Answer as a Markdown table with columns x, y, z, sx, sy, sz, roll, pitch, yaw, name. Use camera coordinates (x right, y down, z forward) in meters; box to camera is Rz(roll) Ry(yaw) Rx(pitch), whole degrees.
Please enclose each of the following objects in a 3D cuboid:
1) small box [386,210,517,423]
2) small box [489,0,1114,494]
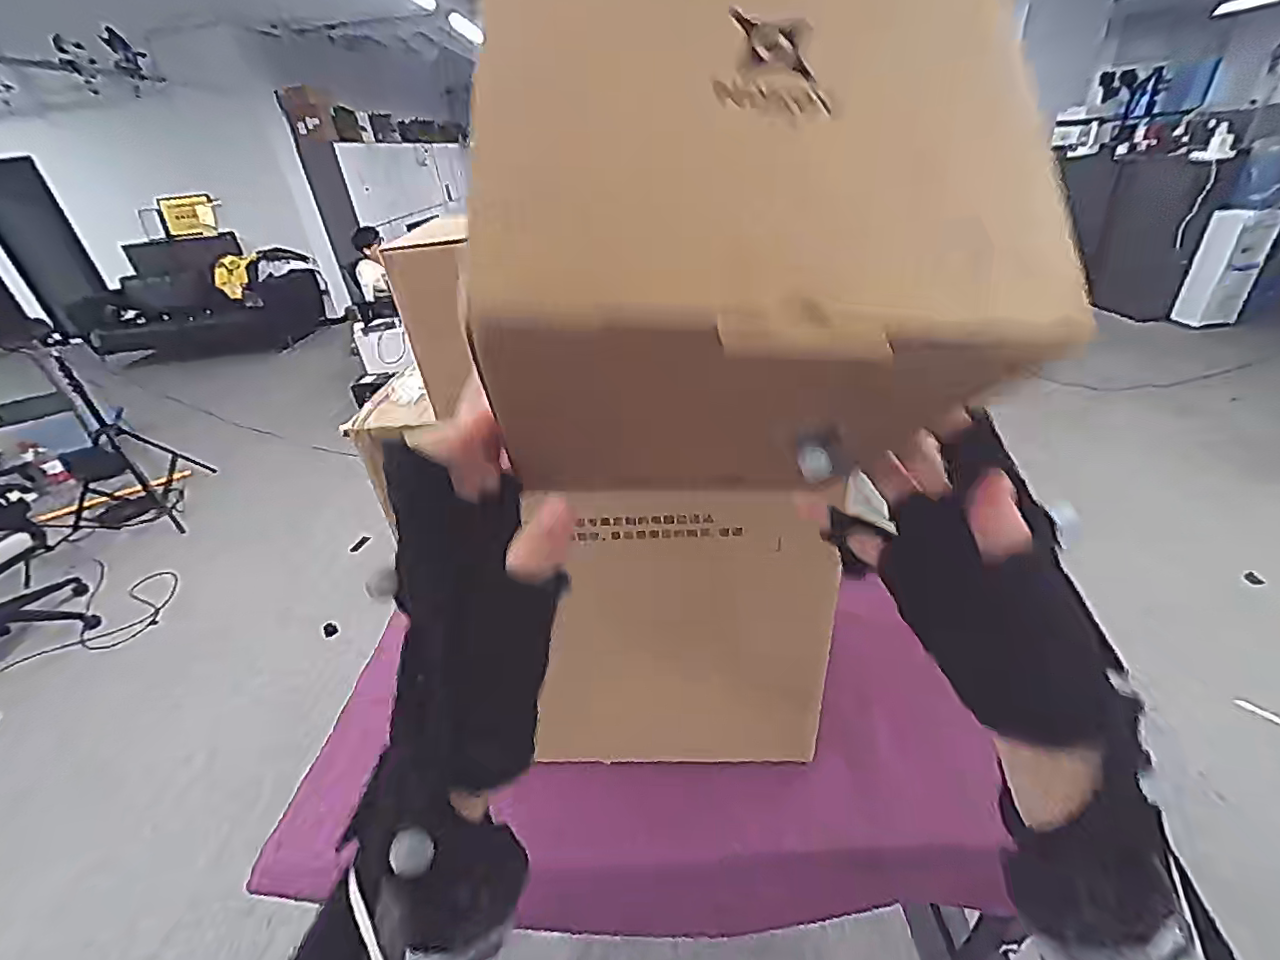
| x | y | z | sx | sy | sz | roll | pitch | yaw | name |
| --- | --- | --- | --- | --- | --- | --- | --- | --- | --- |
| -0.115 | -0.171 | 0.548 | 0.179 | 0.176 | 0.168 | -6 | 33 | 3 | small box |
| 0.035 | -0.093 | 0.232 | 0.168 | 0.176 | 0.179 | 1 | 76 | -8 | small box |
